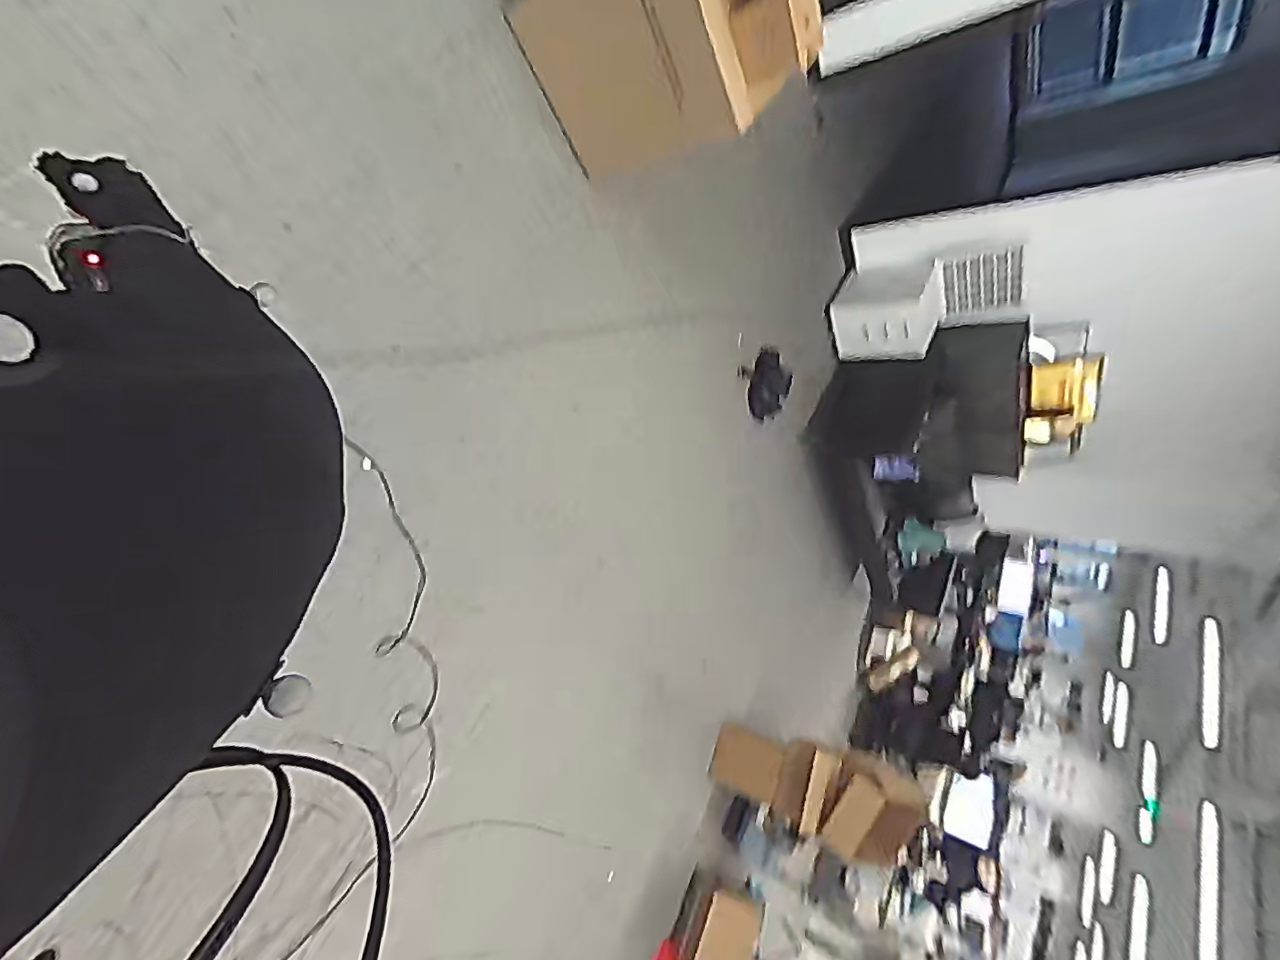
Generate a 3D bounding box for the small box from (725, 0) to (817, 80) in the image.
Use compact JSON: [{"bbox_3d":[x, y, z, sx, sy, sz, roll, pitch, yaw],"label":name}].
[{"bbox_3d":[0.355,-1.243,1.475,0.168,0.176,0.179,-55,134,-24],"label":"small box"}]
